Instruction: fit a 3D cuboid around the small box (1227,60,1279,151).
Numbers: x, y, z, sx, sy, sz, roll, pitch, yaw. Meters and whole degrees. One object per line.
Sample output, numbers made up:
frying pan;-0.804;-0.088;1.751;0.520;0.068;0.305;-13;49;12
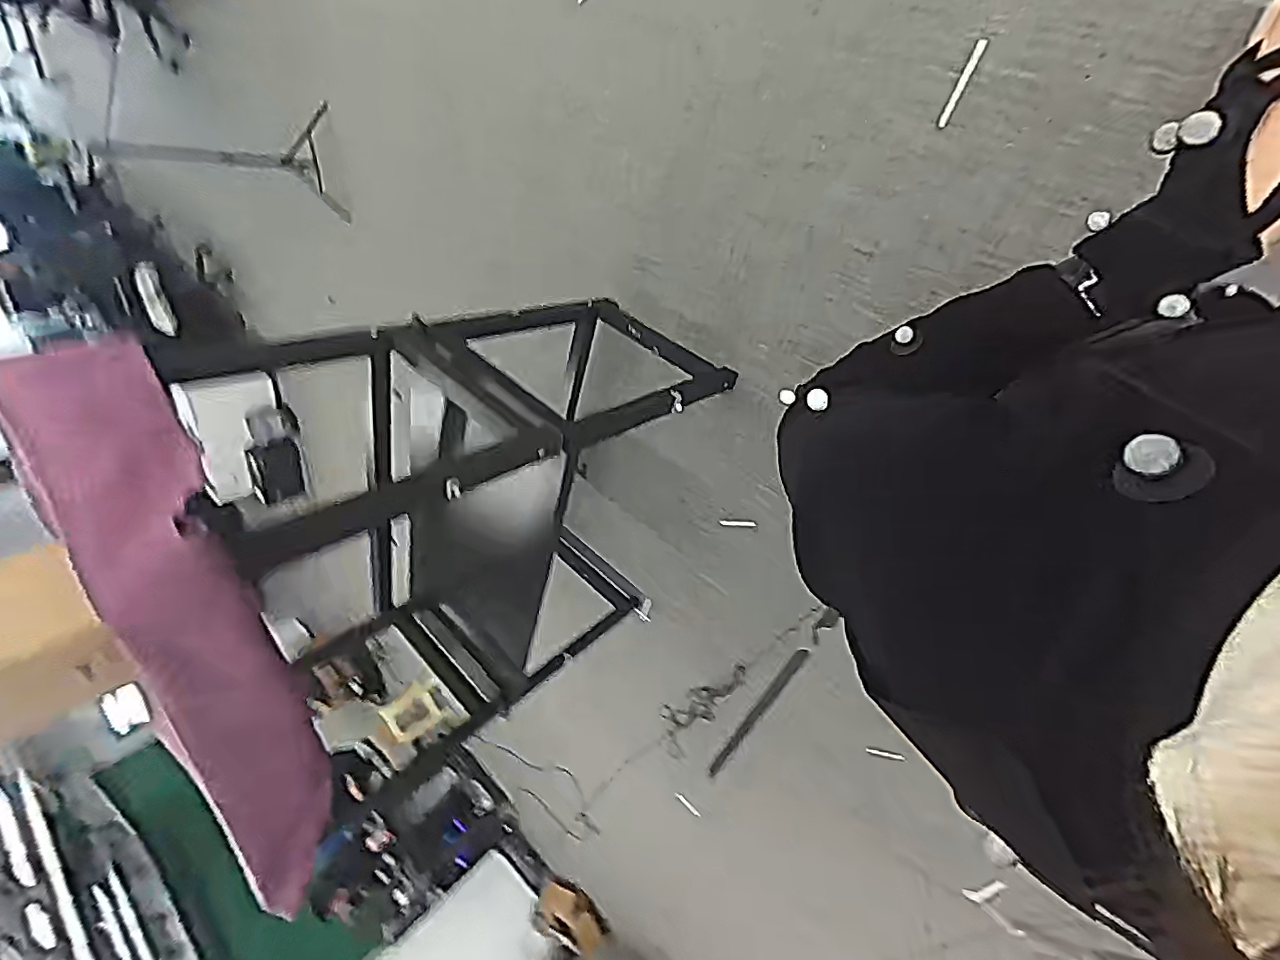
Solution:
small box;1.021;-0.573;0.778;0.179;0.176;0.168;37;130;24

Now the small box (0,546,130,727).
small box;-0.866;0.215;0.759;0.179;0.176;0.168;41;132;21
